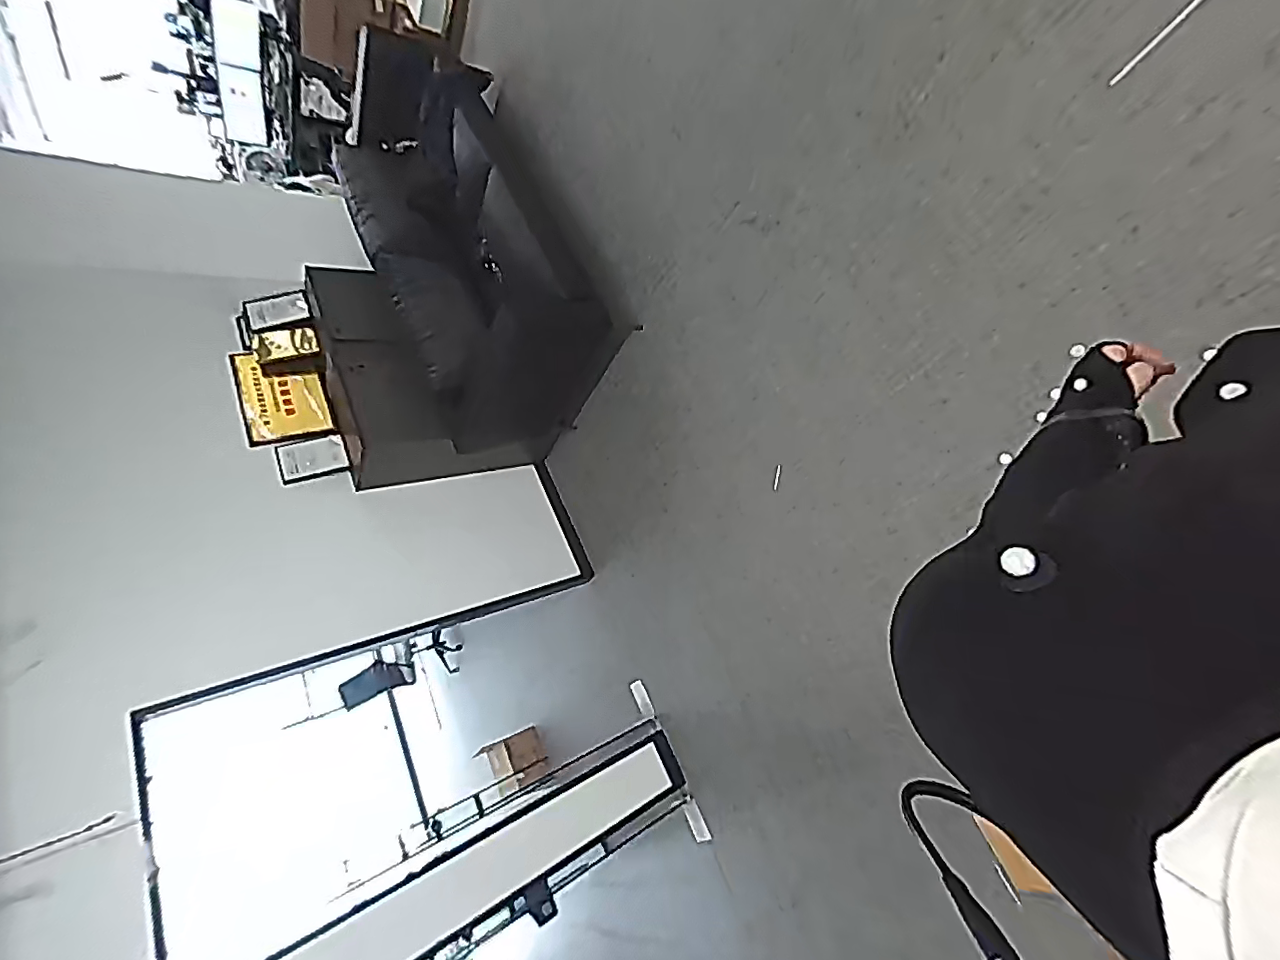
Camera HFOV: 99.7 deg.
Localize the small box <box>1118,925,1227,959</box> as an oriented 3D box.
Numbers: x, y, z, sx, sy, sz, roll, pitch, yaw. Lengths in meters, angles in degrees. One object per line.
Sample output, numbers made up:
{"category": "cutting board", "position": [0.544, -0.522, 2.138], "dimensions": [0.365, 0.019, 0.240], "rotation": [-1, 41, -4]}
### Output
{"category": "small box", "position": [1.256, 1.174, 1.237], "dimensions": [0.168, 0.176, 0.179], "rotation": [-48, 60, 46]}
